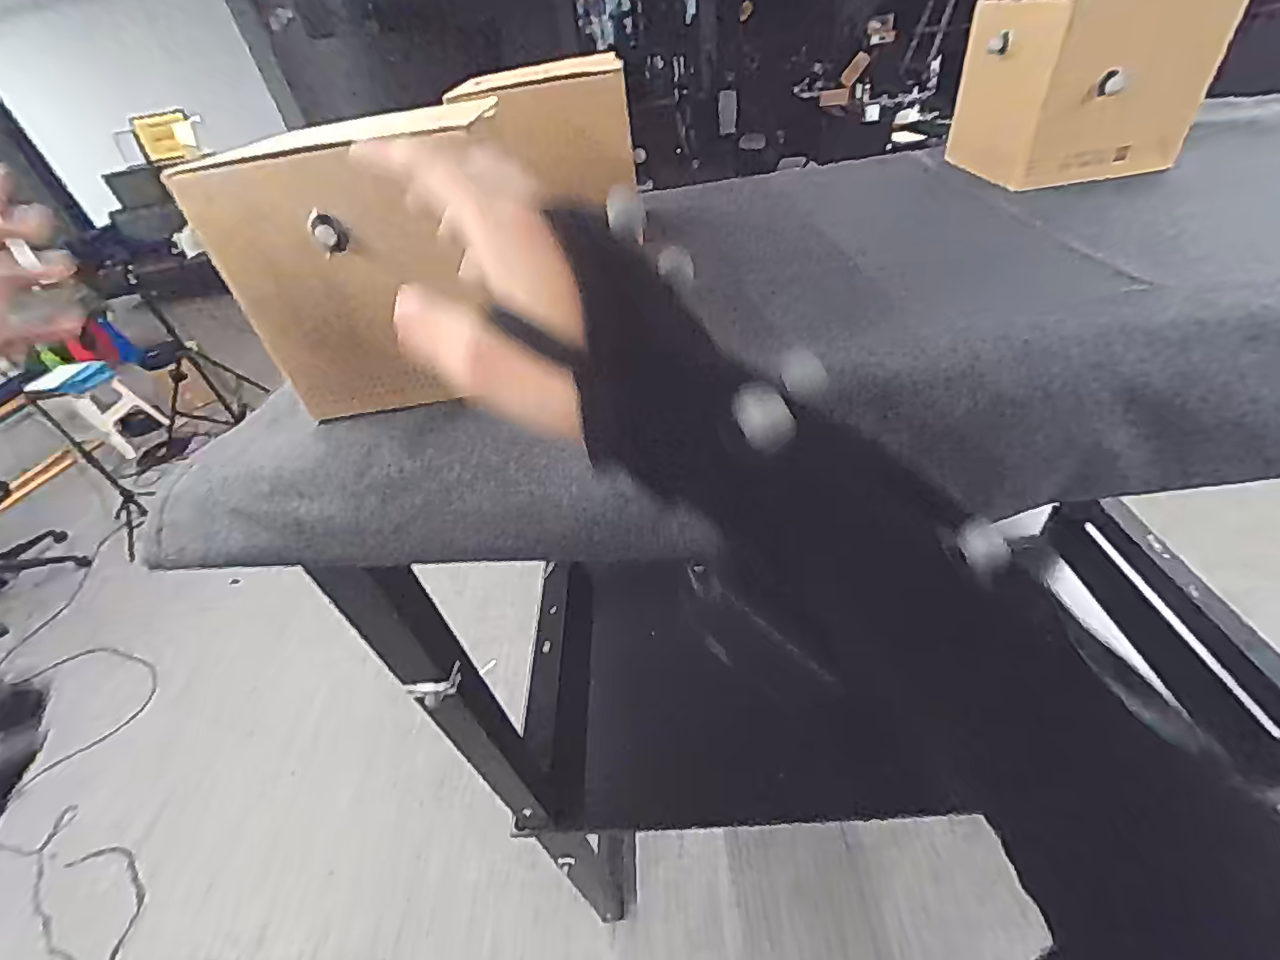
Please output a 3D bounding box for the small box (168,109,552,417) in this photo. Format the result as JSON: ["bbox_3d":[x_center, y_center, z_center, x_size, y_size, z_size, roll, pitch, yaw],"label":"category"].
[{"bbox_3d":[-0.175,-0.162,0.410,0.179,0.176,0.168,-8,40,1],"label":"small box"}]

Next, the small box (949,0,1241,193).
[{"bbox_3d":[0.475,-0.430,0.594,0.168,0.176,0.179,-7,41,4],"label":"small box"}]

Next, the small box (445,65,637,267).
[{"bbox_3d":[-0.097,-0.358,0.625,0.179,0.176,0.168,-7,41,2],"label":"small box"}]
